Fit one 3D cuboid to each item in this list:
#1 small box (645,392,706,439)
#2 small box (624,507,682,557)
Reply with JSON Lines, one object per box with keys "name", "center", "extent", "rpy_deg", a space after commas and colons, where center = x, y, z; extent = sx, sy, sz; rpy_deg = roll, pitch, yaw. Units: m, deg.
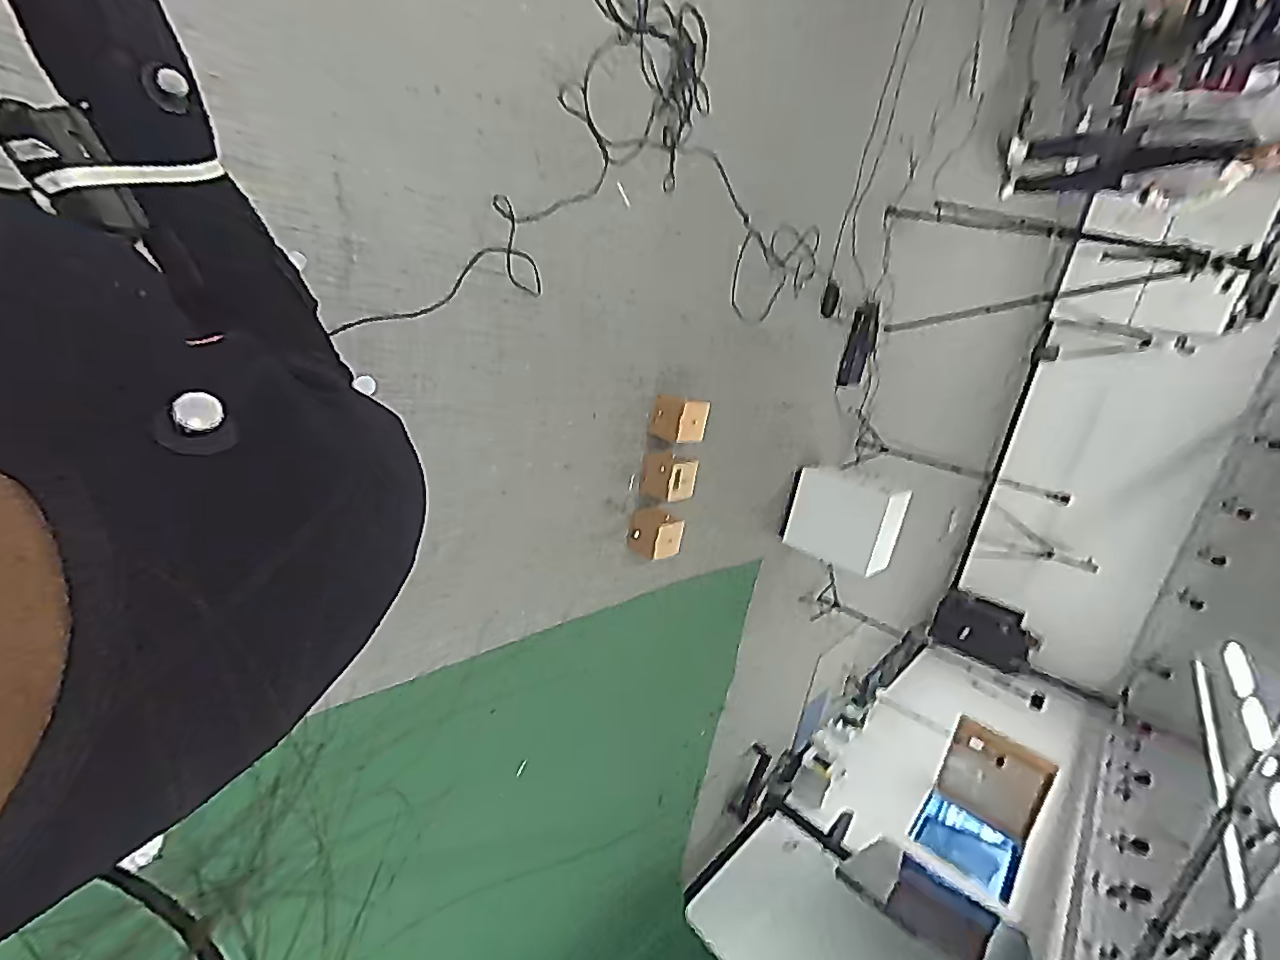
{"name": "small box", "center": [0.150, -0.273, 2.288], "extent": [0.179, 0.176, 0.168], "rpy_deg": [-6, 112, -47]}
{"name": "small box", "center": [0.057, 0.228, 2.432], "extent": [0.179, 0.176, 0.168], "rpy_deg": [-6, 112, -46]}
